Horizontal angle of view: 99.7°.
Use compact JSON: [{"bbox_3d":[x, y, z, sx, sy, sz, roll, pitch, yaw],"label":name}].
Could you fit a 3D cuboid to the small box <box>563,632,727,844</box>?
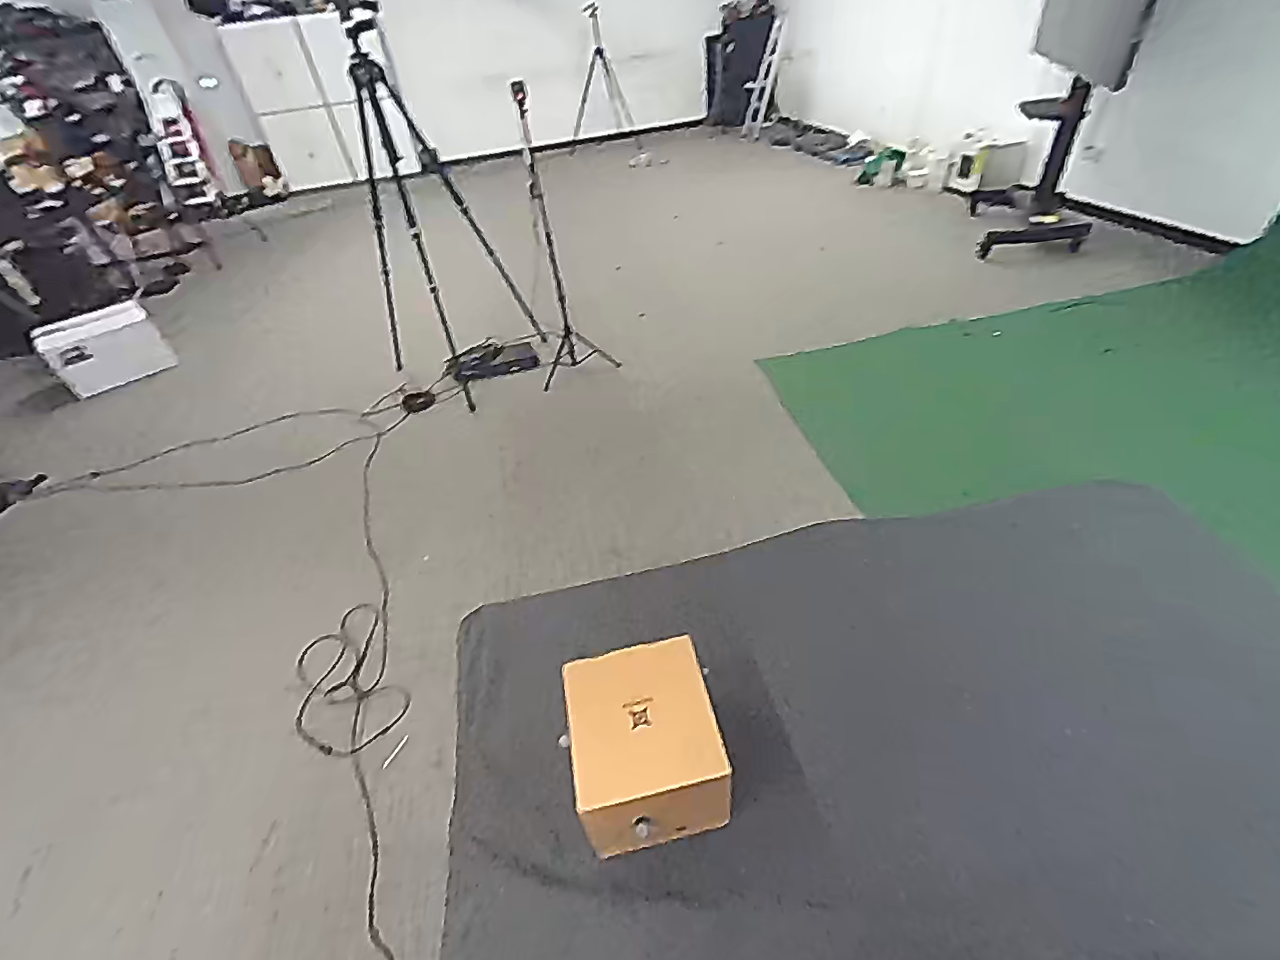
[{"bbox_3d":[0.008,0.325,0.674,0.168,0.176,0.179,-12,41,-5],"label":"small box"}]
